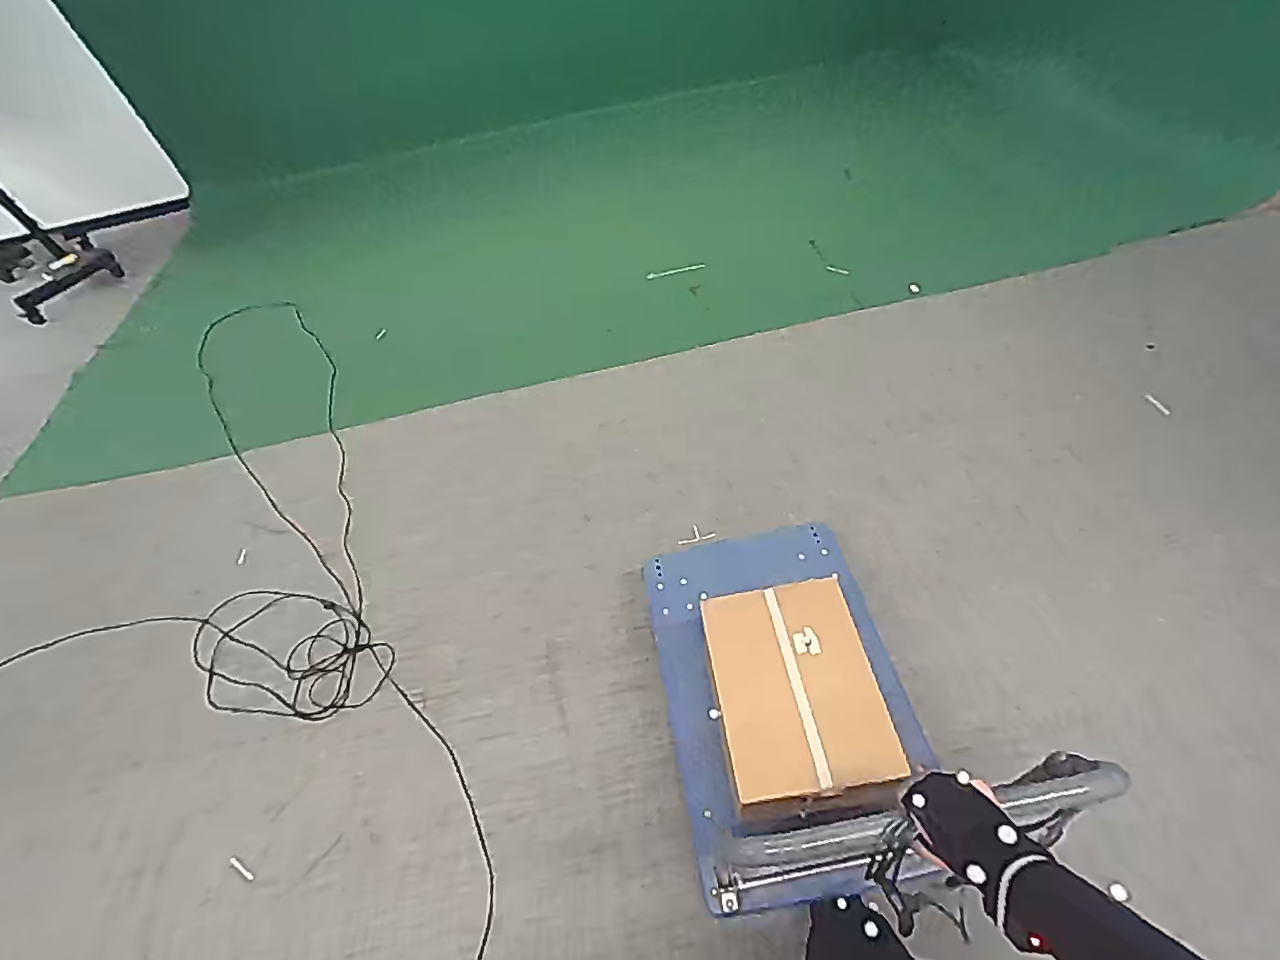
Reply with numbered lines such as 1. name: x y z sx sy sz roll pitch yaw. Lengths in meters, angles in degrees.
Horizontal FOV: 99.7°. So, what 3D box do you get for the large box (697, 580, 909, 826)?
1. large box: 0.323 0.491 1.194 0.320 0.320 0.408 -10 51 1
